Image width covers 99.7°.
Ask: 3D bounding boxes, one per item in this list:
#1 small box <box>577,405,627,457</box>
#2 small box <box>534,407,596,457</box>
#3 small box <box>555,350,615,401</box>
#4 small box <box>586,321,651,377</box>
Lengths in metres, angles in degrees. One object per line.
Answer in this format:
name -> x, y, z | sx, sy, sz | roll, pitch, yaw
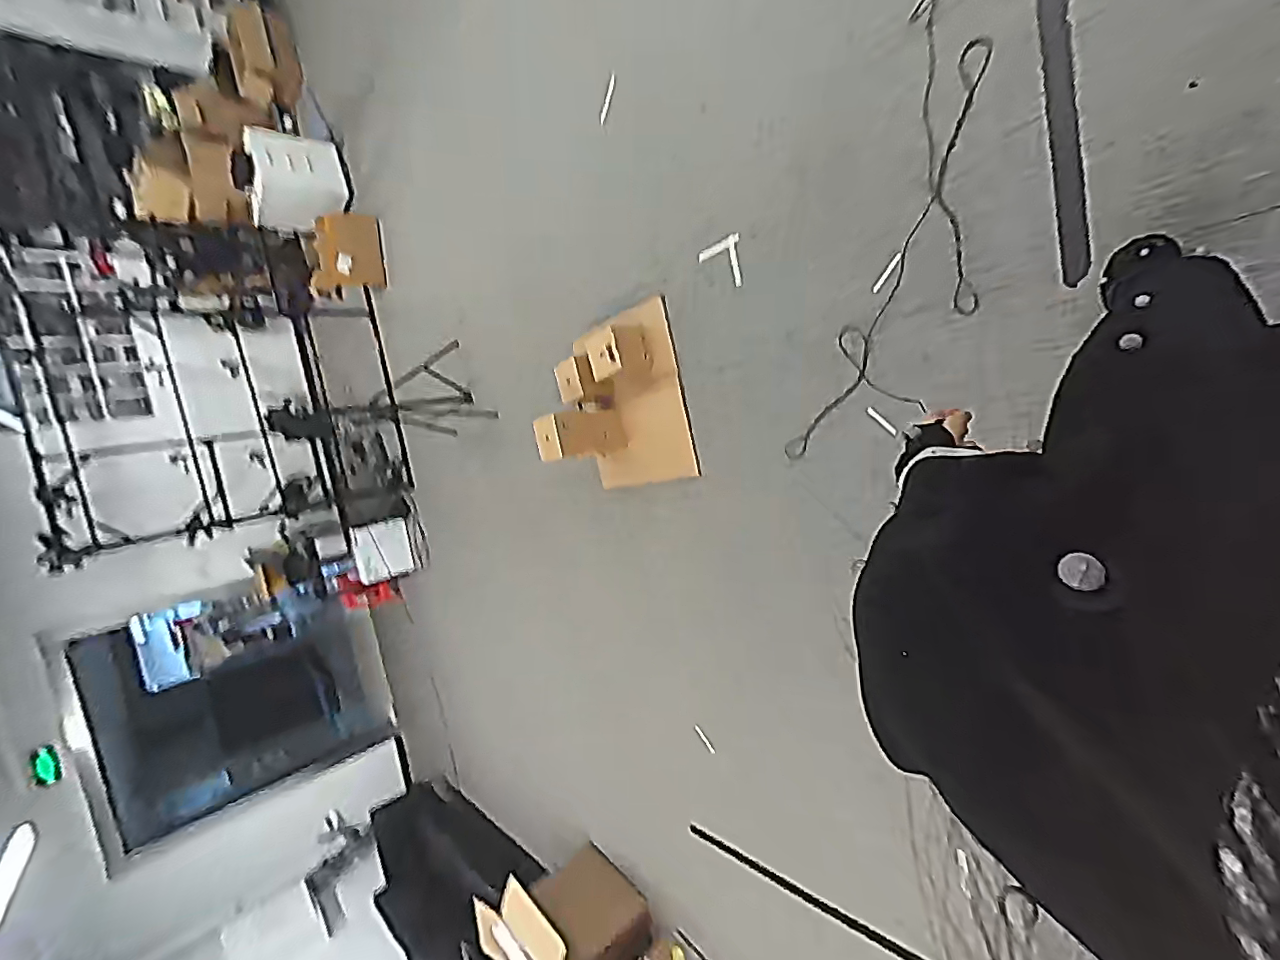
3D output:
small box -> -0.177, -0.209, 2.311 | 0.168, 0.176, 0.179 | -14, 92, 49
small box -> -0.303, -0.199, 2.202 | 0.168, 0.176, 0.179 | -8, 96, 50
small box -> -0.233, -0.448, 2.304 | 0.168, 0.176, 0.179 | -14, 92, 50
small box -> -0.077, -0.512, 2.104 | 0.179, 0.176, 0.168 | -13, 92, 50
